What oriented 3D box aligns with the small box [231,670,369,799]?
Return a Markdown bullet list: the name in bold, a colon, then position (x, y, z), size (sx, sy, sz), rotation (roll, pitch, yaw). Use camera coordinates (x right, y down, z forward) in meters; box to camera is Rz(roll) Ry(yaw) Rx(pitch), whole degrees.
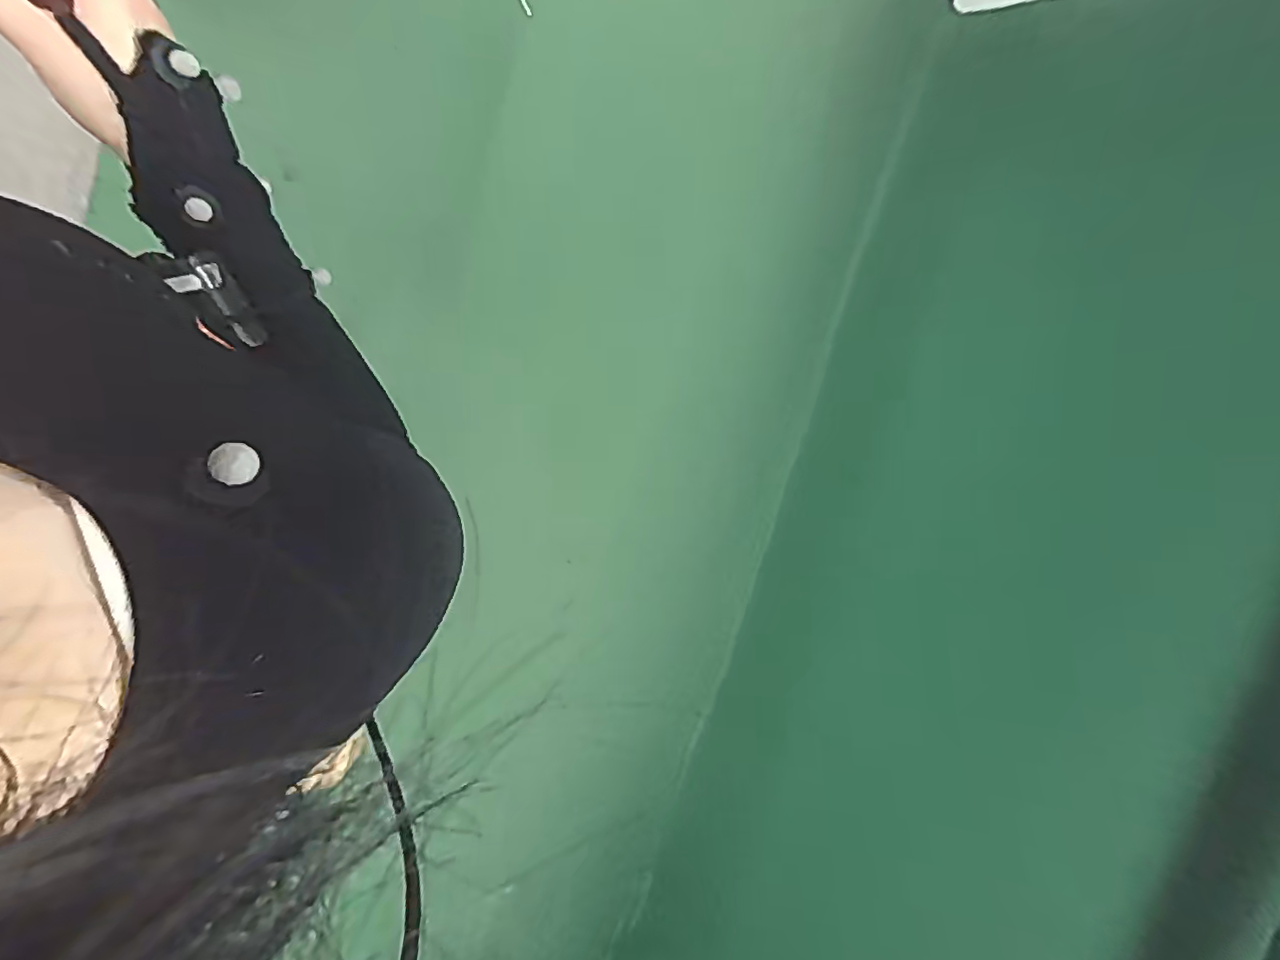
- **small box**: position (-0.709, 0.513, 1.126), size (0.179, 0.176, 0.168), rotation (17, 95, -52)
